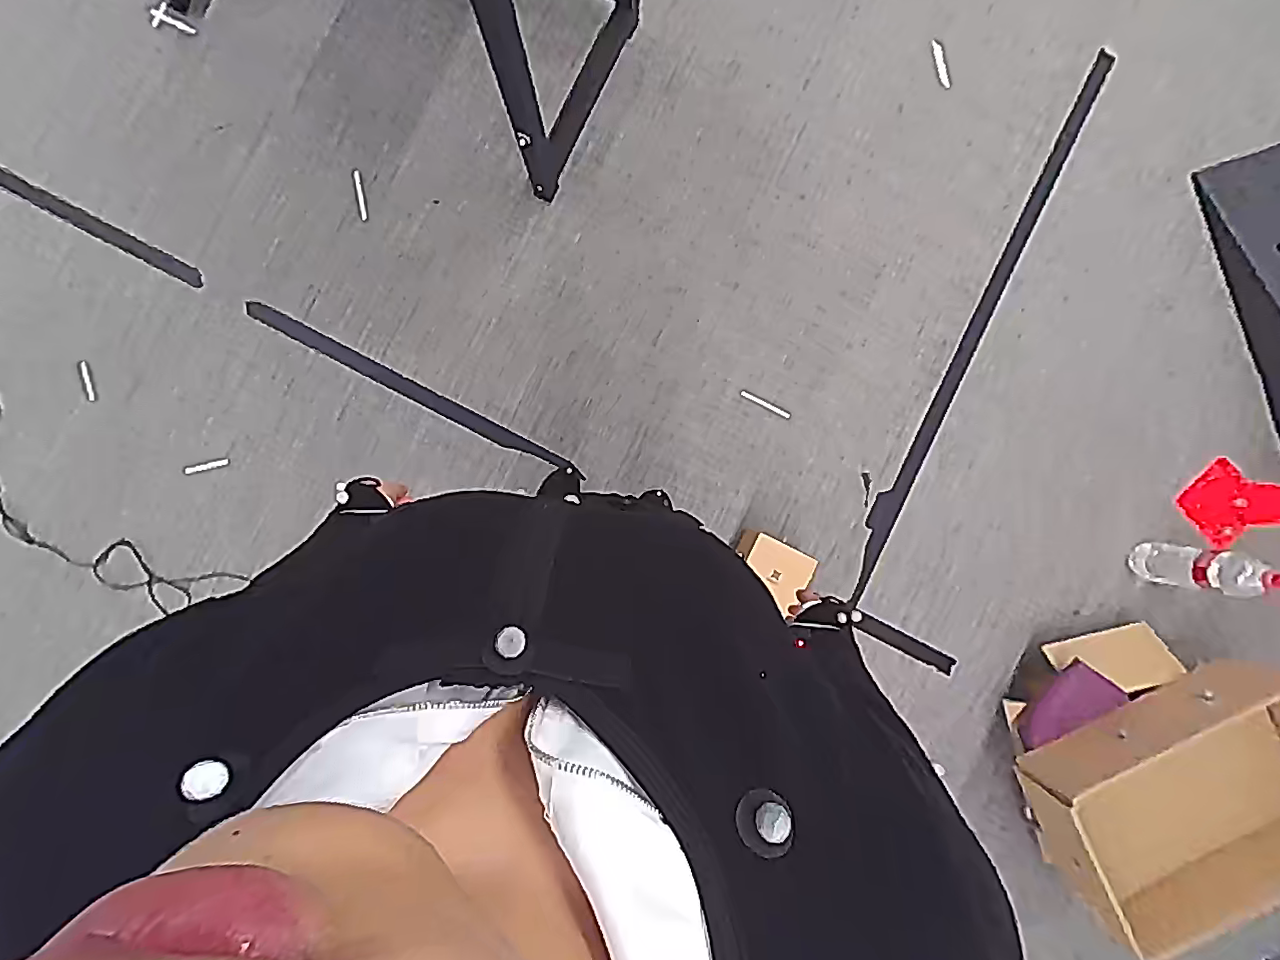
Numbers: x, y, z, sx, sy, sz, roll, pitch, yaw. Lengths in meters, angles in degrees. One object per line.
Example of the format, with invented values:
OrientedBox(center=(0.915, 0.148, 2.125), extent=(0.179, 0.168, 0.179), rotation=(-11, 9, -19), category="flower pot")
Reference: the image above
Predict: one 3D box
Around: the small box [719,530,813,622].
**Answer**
OrientedBox(center=(0.323, 0.245, 1.431), extent=(0.168, 0.176, 0.179), rotation=(27, 89, 0), category="small box")
